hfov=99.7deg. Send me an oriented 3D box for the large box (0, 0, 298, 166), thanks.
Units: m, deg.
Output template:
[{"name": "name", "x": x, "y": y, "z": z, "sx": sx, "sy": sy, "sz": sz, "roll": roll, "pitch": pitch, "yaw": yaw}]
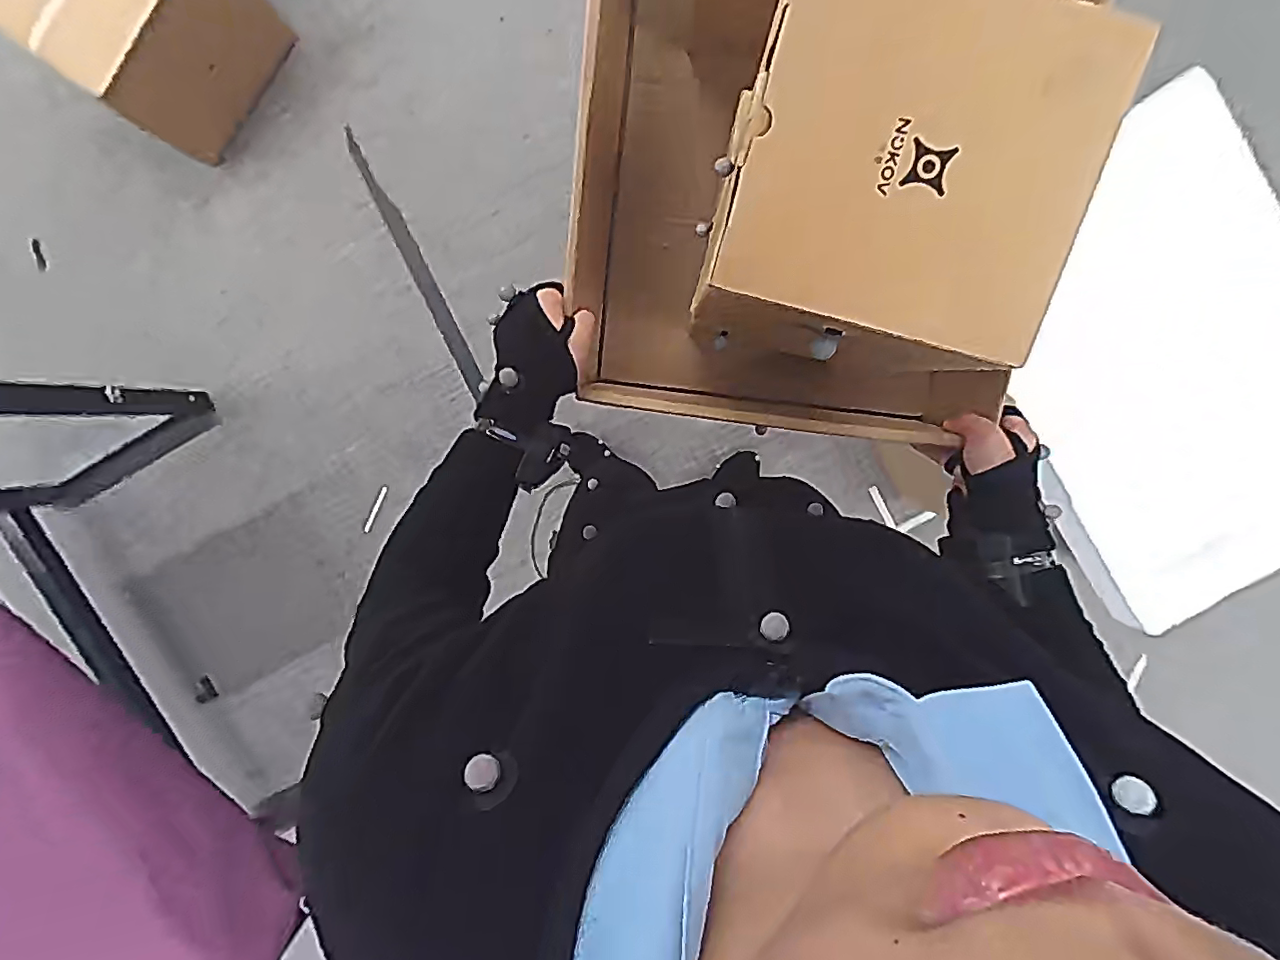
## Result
[{"name": "large box", "x": -1.095, "y": -1.041, "z": 1.230, "sx": 0.320, "sy": 0.320, "sz": 0.408, "roll": 37, "pitch": 96, "yaw": -2}]
